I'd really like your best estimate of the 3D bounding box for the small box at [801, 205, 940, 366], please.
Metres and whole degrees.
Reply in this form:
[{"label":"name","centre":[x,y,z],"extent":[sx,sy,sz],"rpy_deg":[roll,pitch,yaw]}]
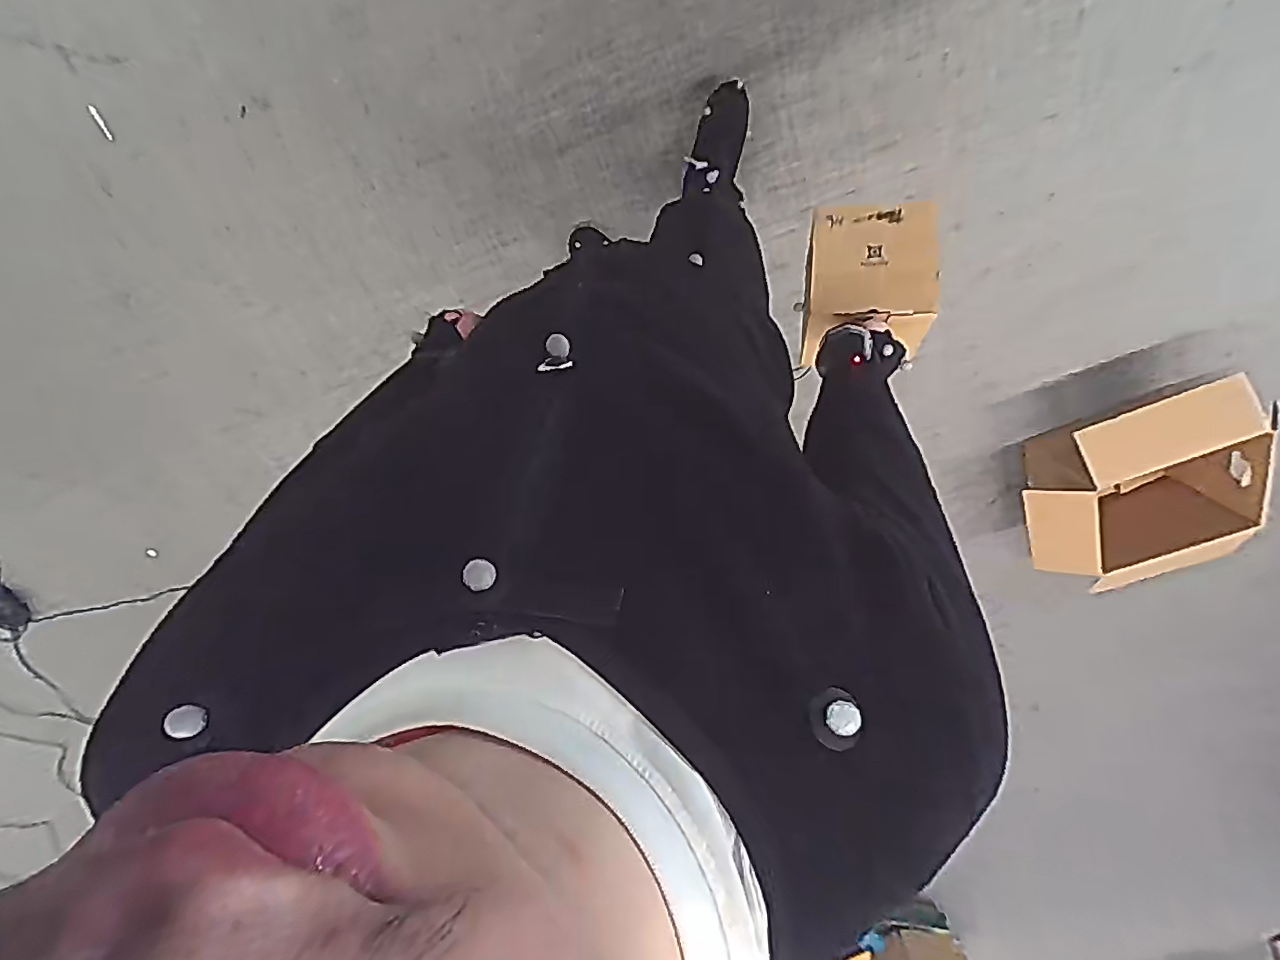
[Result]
[{"label":"small box","centre":[0.343,-0.289,0.830],"extent":[0.168,0.176,0.179],"rpy_deg":[5,77,12]}]
